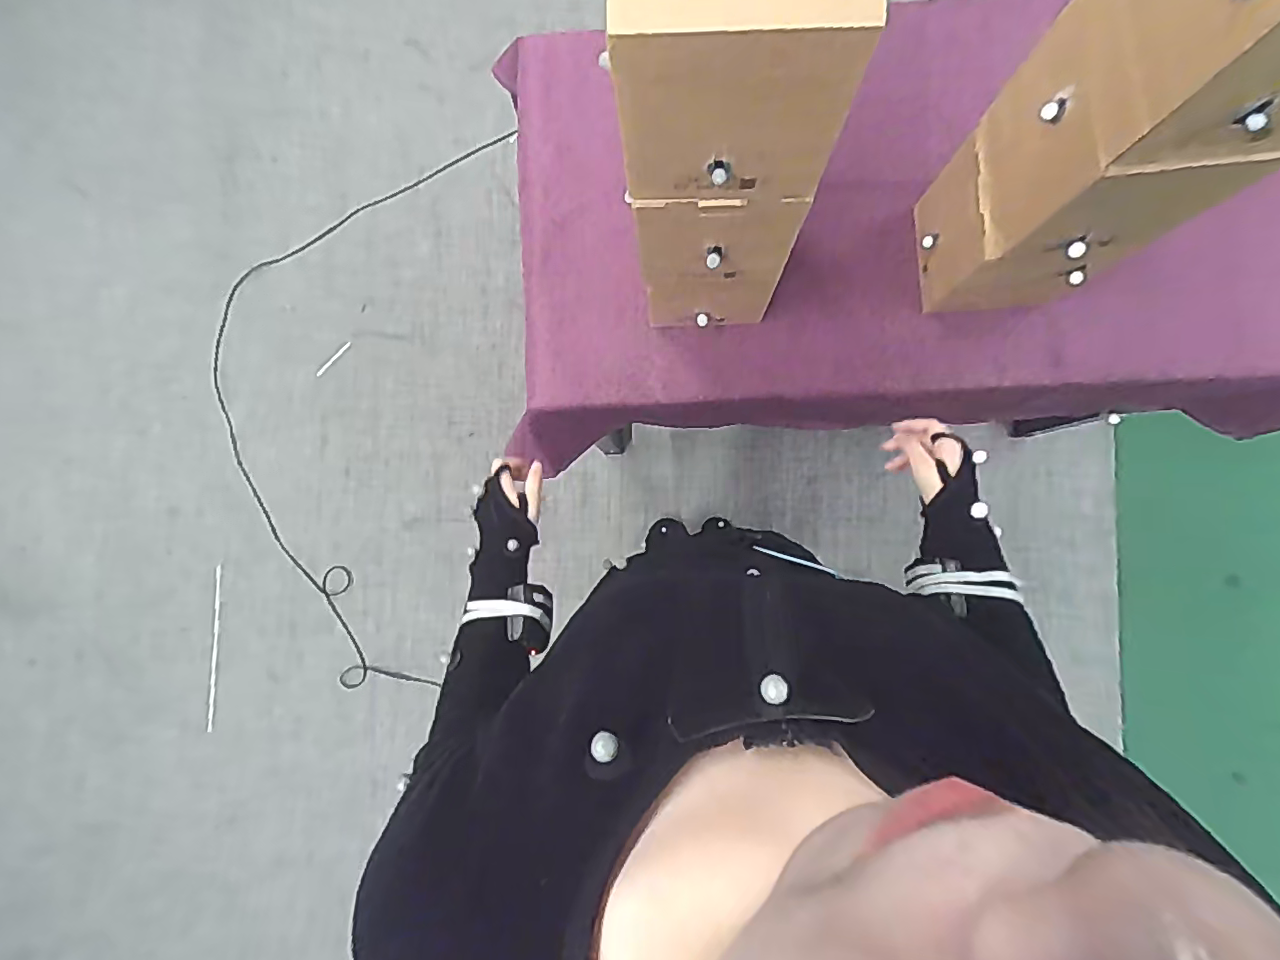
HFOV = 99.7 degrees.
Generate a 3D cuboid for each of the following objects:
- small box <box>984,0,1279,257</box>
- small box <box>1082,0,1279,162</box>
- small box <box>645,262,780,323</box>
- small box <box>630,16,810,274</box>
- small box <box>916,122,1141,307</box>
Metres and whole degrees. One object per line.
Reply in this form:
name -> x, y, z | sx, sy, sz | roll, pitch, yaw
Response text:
small box -> 0.479, -0.353, 0.548 | 0.168, 0.176, 0.179 | -3, 87, 5
small box -> 0.464, -0.370, 0.387 | 0.168, 0.176, 0.179 | -6, 86, 4
small box -> 0.092, -0.330, 0.737 | 0.168, 0.176, 0.179 | 0, 86, 4
small box -> 0.079, -0.333, 0.574 | 0.168, 0.176, 0.179 | 0, 87, 4
small box -> 0.492, -0.339, 0.710 | 0.179, 0.176, 0.168 | -2, 85, 4
